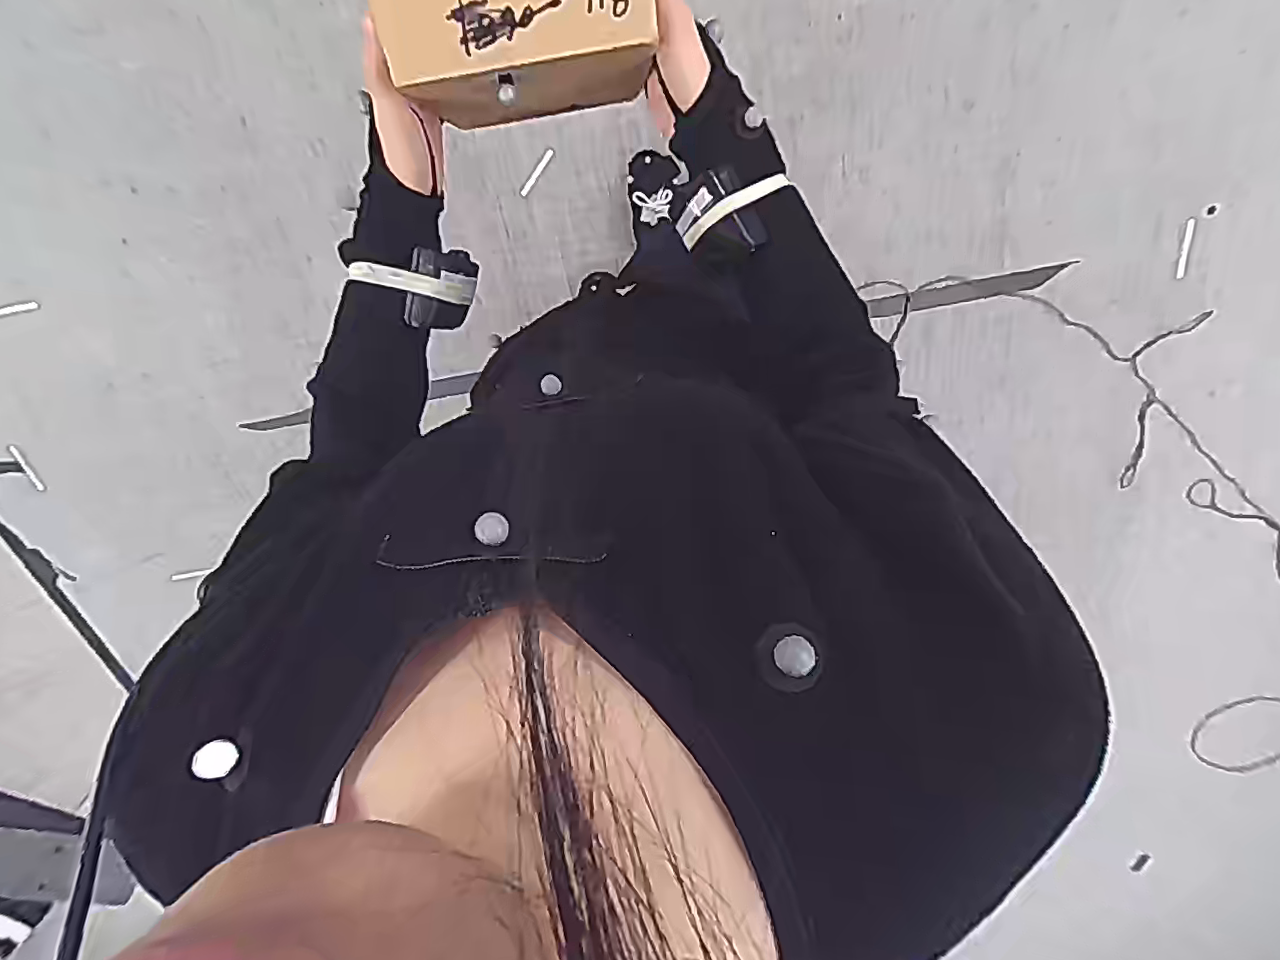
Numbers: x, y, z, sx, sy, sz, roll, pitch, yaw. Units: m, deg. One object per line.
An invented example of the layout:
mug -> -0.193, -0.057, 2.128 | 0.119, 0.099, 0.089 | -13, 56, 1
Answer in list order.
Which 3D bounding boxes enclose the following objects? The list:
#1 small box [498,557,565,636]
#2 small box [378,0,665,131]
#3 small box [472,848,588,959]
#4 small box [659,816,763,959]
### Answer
small box -> -0.323, 0.346, 1.624 | 0.179, 0.176, 0.168 | 4, 113, -6
small box -> -0.084, -0.361, 0.363 | 0.168, 0.176, 0.179 | -10, 115, 0
small box -> -0.205, 0.860, 1.057 | 0.179, 0.176, 0.168 | -9, 115, 1
small box -> 0.131, 0.770, 1.031 | 0.168, 0.176, 0.179 | -9, 116, 3
